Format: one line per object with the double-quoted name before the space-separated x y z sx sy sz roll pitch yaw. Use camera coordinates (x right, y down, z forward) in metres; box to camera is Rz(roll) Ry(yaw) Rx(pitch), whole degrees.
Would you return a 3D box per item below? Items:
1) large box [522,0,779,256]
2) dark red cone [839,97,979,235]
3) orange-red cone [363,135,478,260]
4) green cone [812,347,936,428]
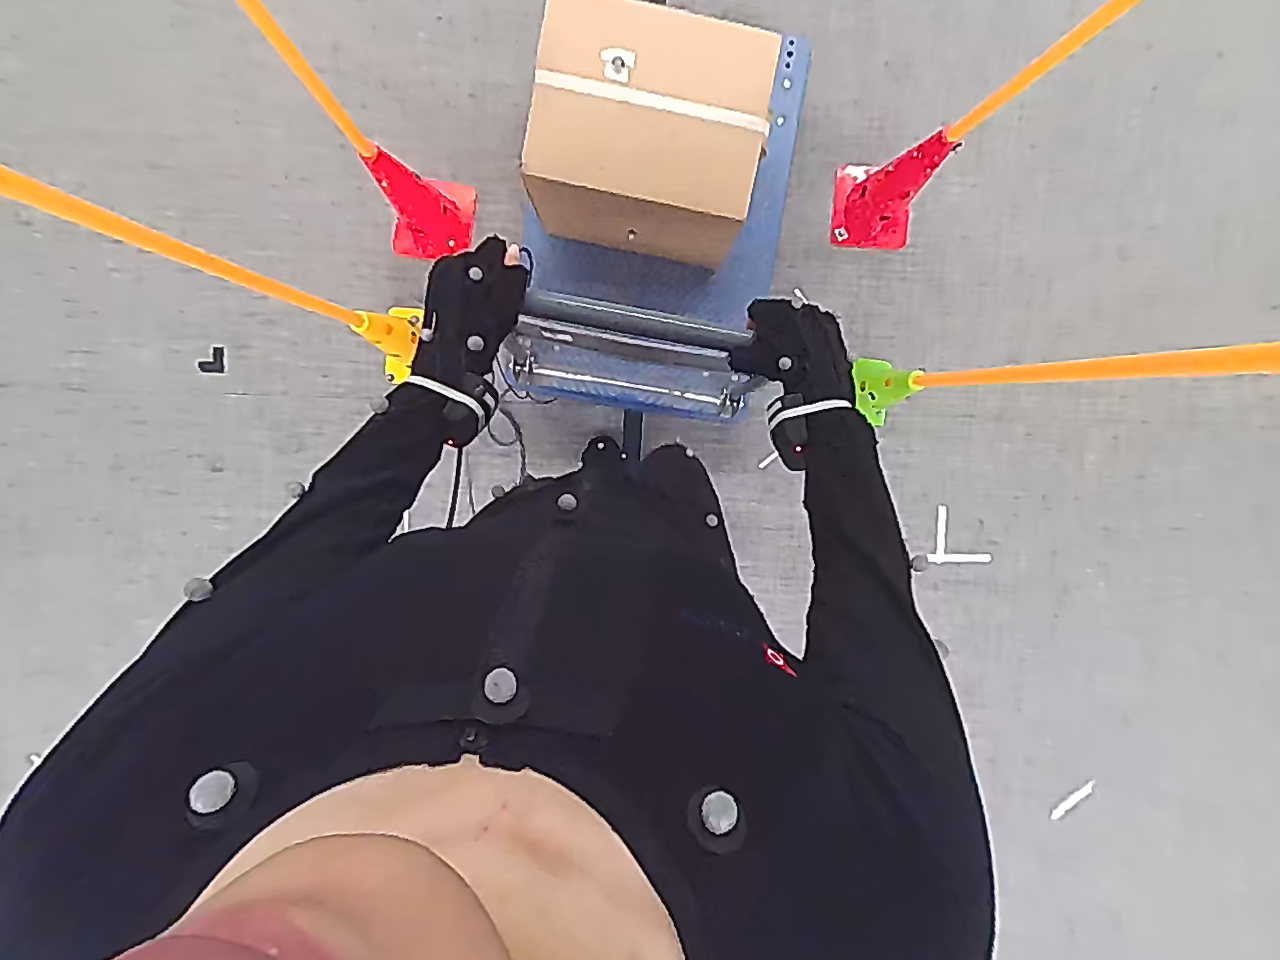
"large box" 0.016 -0.672 1.074 0.408 0.320 0.320 11 97 -2
"dark red cone" 0.607 -0.709 1.200 0.201 0.394 0.202 2 96 -2
"orange-red cone" -0.526 -0.670 1.227 0.198 0.360 0.199 10 94 -2
"green cone" 0.566 -0.229 1.261 0.202 0.368 0.200 6 95 -2
